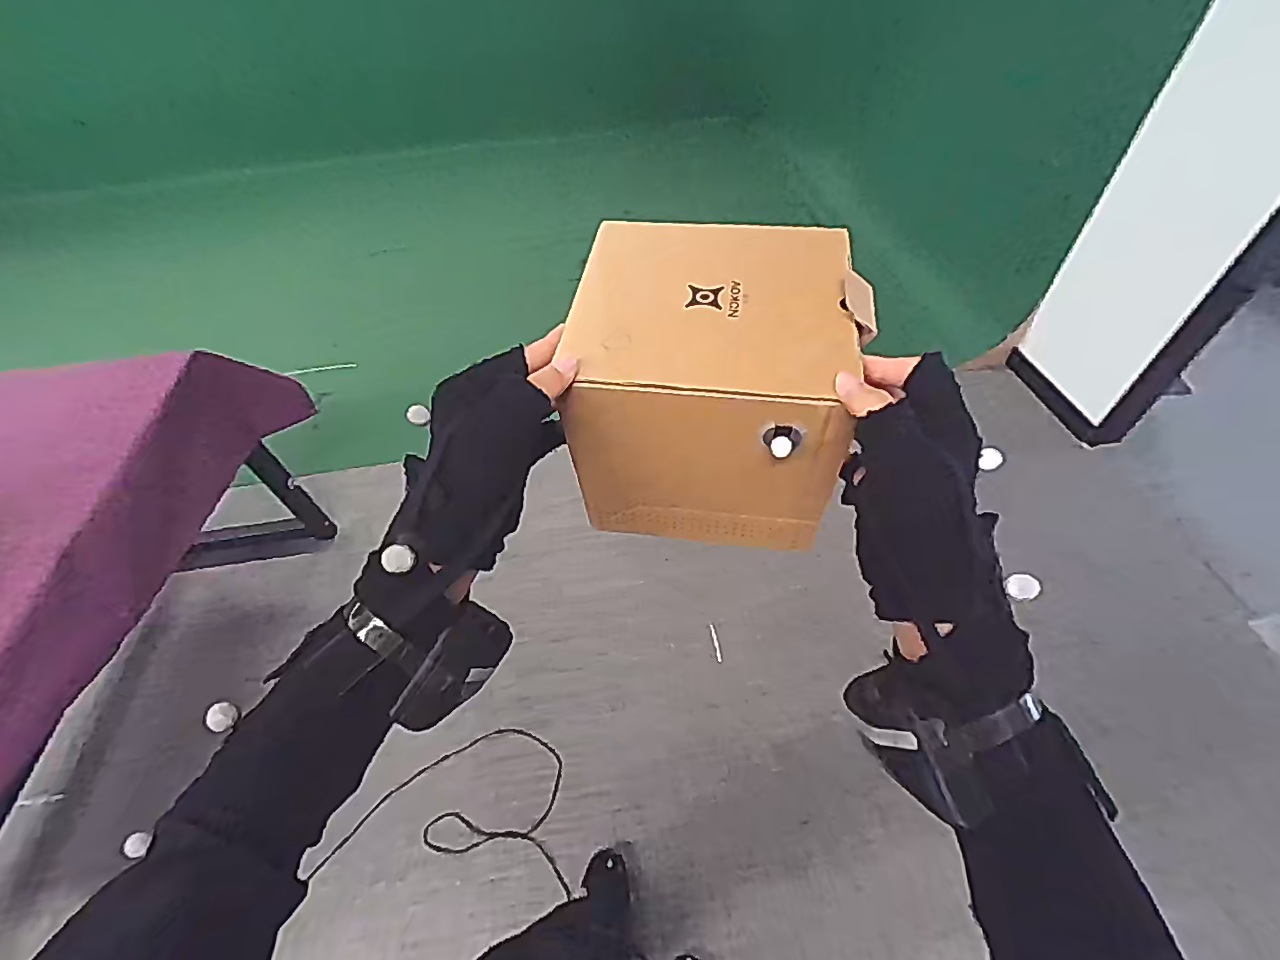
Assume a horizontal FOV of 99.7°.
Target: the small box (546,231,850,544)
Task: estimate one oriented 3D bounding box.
[{"bbox_3d":[0.046,-0.065,0.414,0.179,0.176,0.168,6,54,7],"label":"small box"}]
